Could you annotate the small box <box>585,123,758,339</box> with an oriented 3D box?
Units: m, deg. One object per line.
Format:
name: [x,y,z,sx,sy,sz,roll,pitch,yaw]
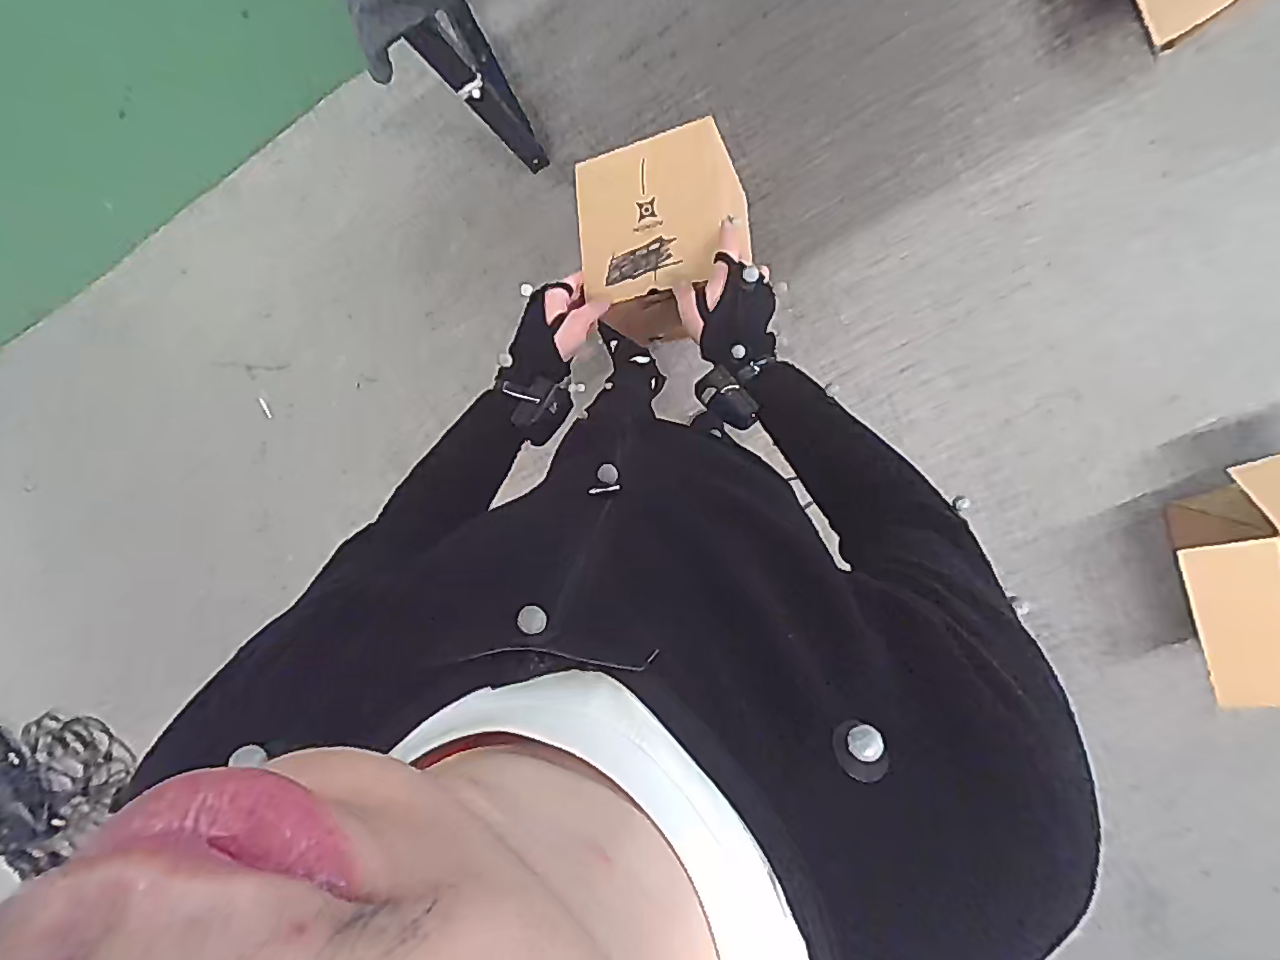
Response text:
small box: [0.046,-0.285,0.671,0.168,0.176,0.179,-6,85,21]
